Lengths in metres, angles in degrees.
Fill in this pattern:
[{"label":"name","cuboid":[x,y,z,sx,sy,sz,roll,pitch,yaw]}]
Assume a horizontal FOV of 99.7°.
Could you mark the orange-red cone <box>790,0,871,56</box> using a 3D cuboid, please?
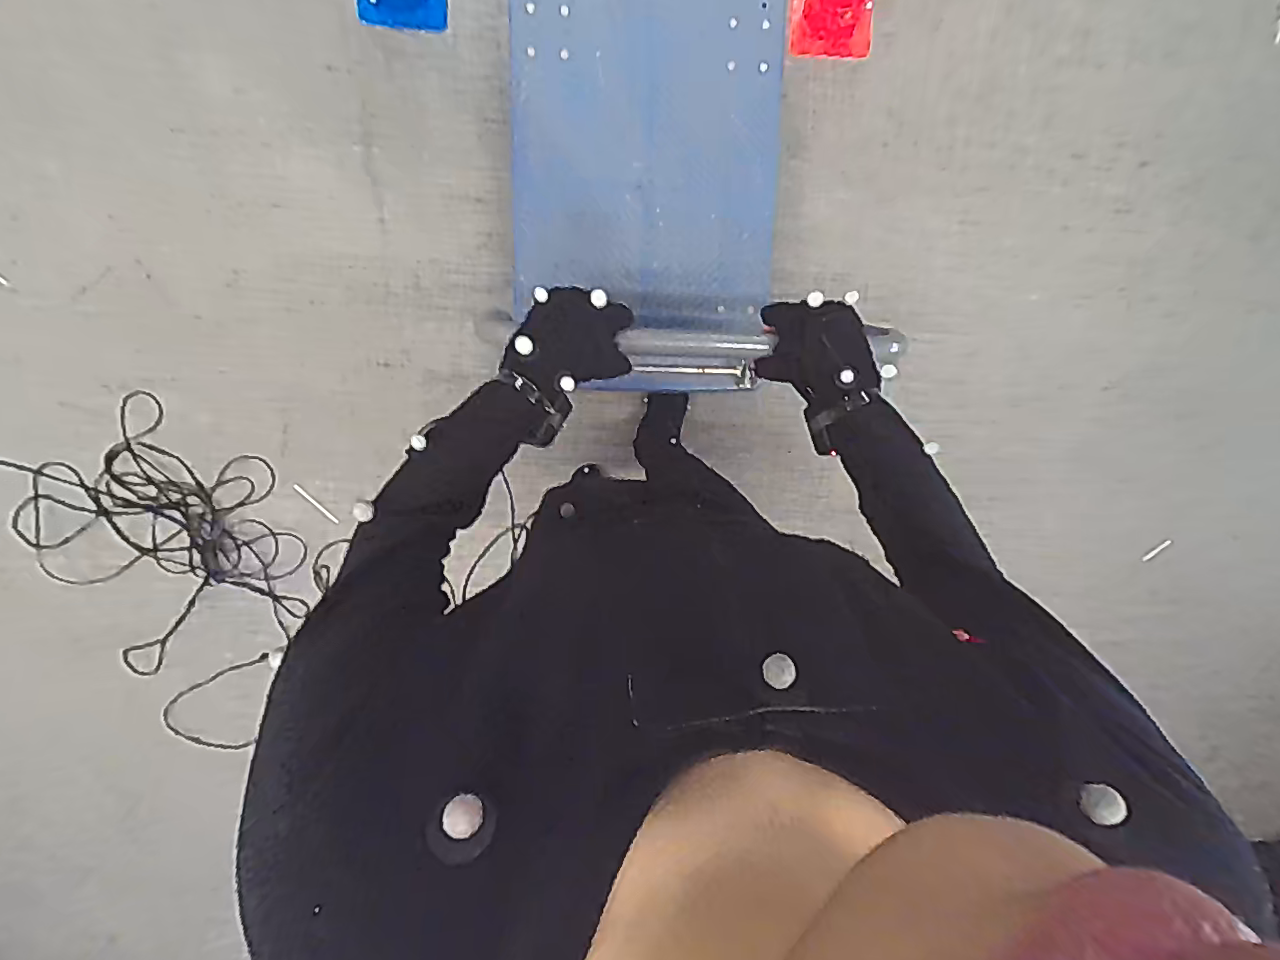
[{"label":"orange-red cone","cuboid":[0.473,-1.113,1.141,0.199,0.360,0.198,2,99,-3]}]
